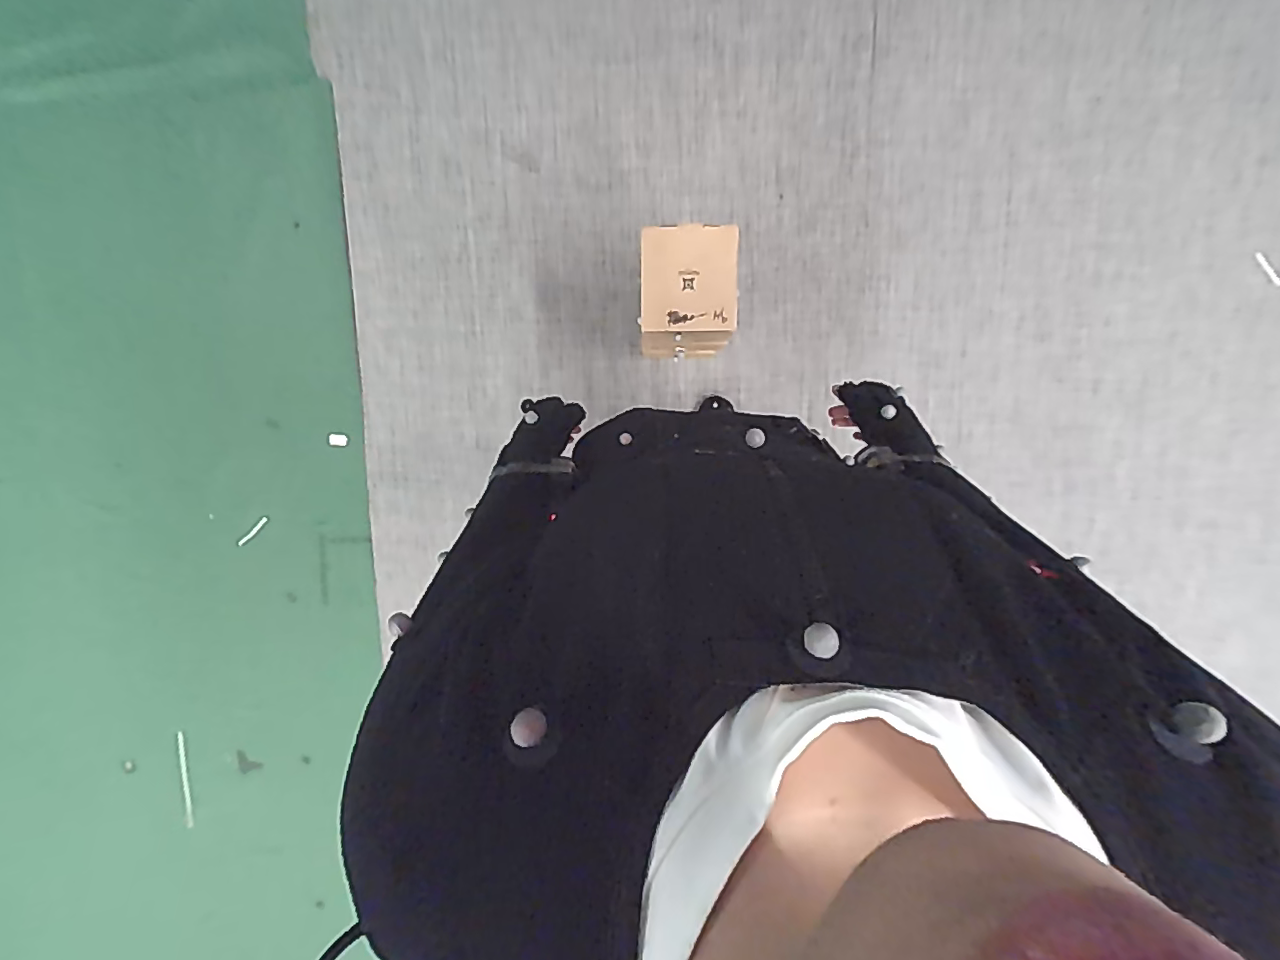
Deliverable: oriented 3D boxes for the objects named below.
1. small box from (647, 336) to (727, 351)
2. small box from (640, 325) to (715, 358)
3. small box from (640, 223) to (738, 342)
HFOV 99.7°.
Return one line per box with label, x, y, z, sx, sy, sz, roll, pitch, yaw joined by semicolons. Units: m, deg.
small box;0.101;-0.377;1.166;0.168;0.176;0.179;1;99;4
small box;0.093;-0.391;1.327;0.179;0.176;0.168;1;98;3
small box;0.086;-0.357;1.004;0.168;0.176;0.179;1;97;4
